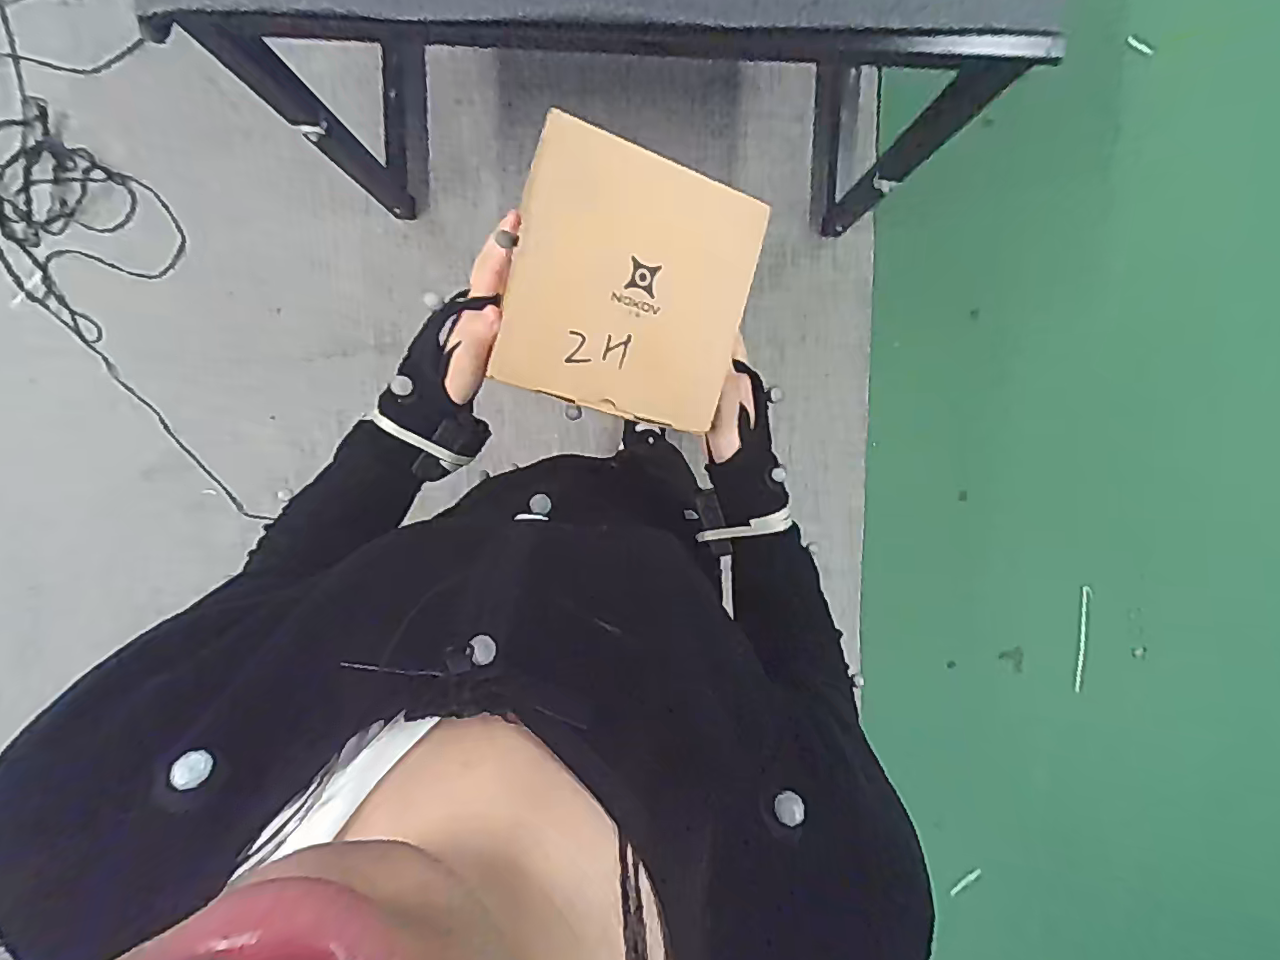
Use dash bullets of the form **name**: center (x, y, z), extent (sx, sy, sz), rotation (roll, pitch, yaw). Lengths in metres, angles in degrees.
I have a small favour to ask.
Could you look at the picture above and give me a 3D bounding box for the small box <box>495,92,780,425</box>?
- **small box**: center (-0.019, -0.156, 0.443), extent (0.168, 0.176, 0.179), rotation (13, 97, -19)
